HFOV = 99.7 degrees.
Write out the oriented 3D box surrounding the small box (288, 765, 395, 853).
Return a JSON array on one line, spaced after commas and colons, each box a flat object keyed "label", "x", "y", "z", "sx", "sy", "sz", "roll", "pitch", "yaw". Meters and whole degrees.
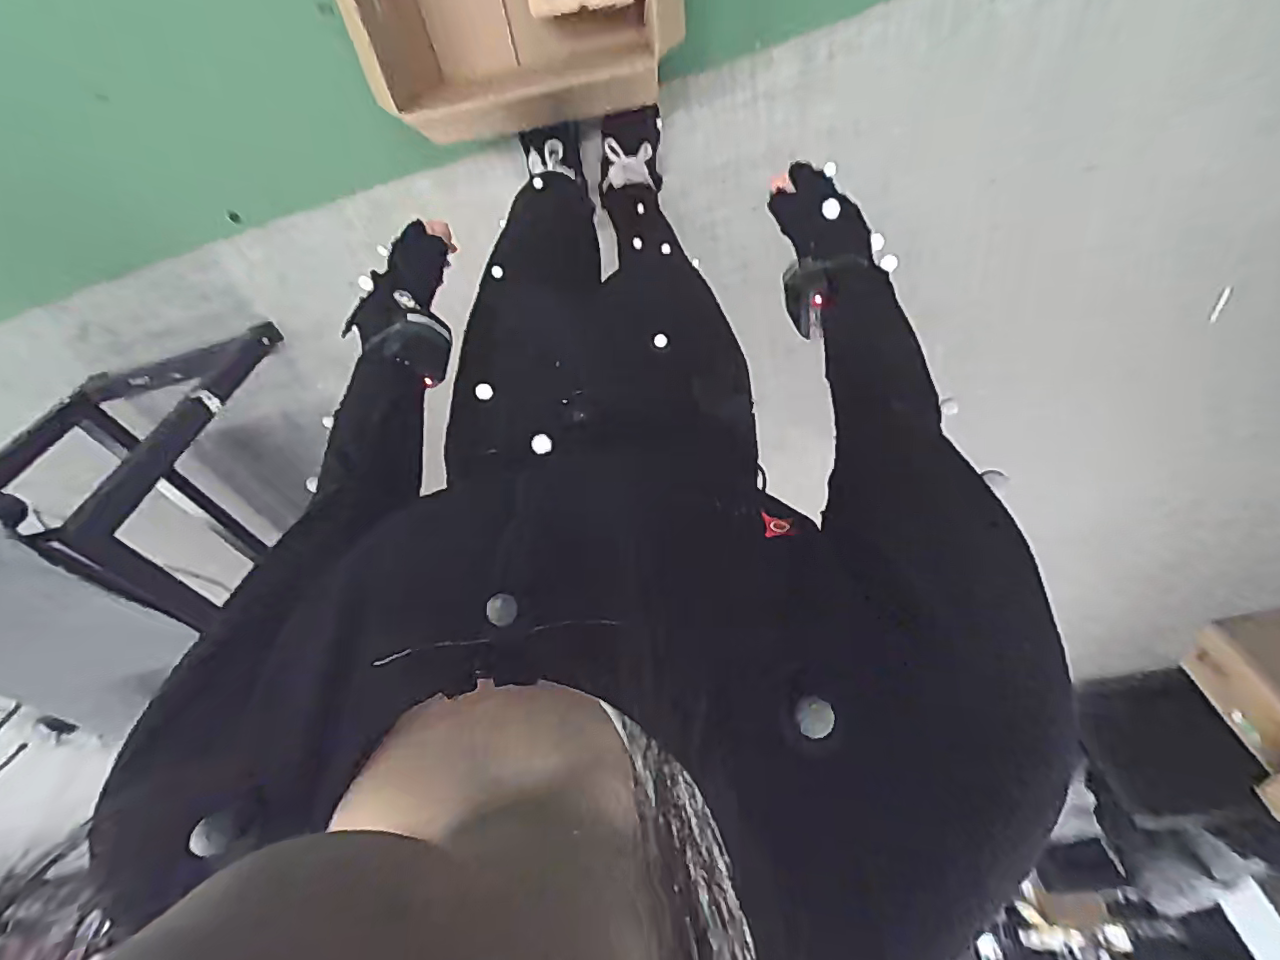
[{"label": "small box", "x": -0.833, "y": 0.929, "z": 1.528, "sx": 0.179, "sy": 0.176, "sz": 0.168, "roll": -13, "pitch": 133, "yaw": 11}]
